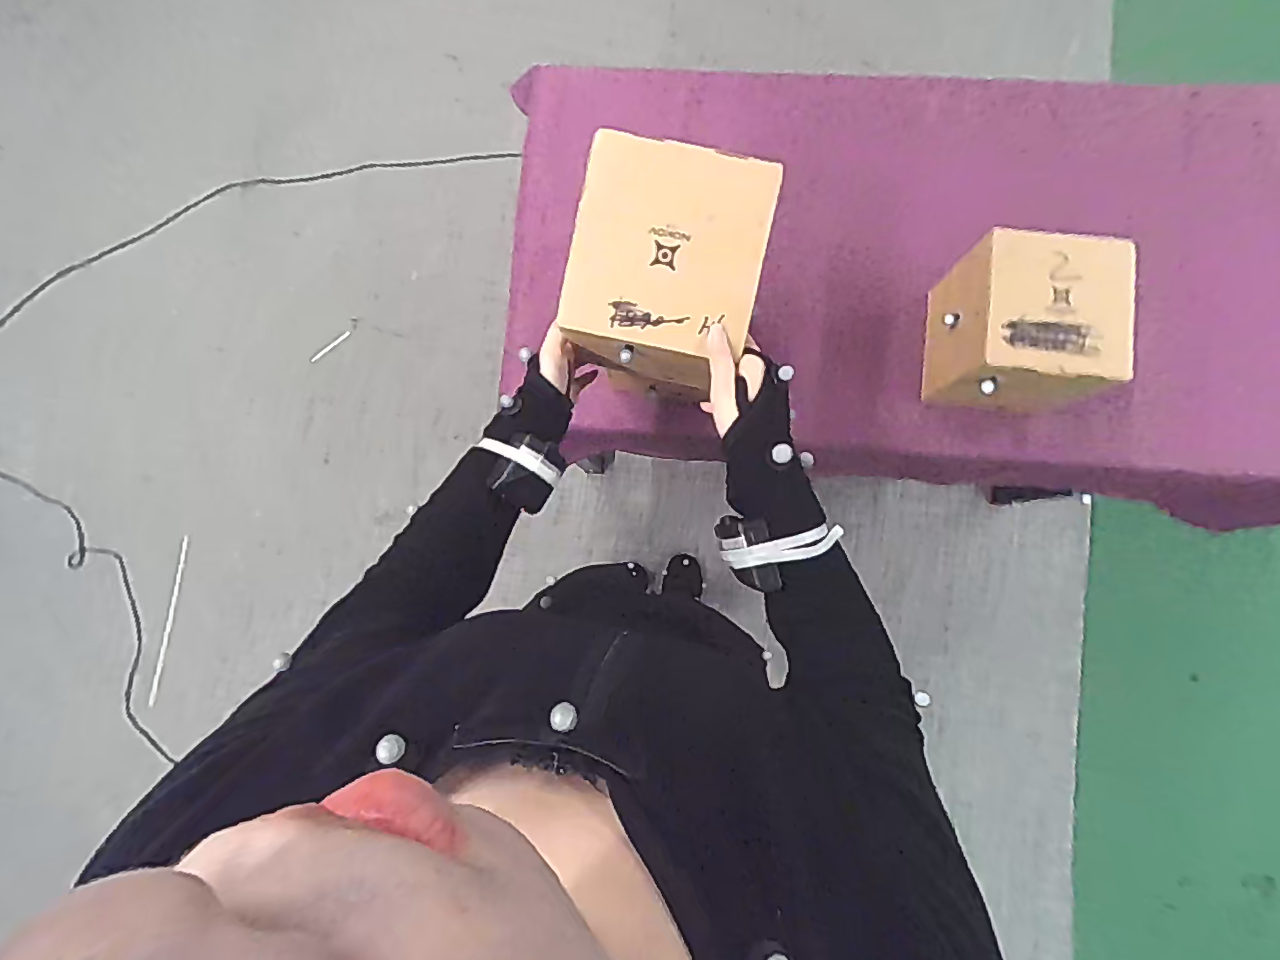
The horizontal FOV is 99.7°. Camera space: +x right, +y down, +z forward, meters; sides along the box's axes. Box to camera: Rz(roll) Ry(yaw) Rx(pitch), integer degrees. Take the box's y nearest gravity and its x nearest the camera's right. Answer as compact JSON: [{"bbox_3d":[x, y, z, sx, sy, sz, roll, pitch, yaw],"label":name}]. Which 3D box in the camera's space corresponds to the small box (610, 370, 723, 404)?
[{"bbox_3d":[0.046,-0.220,0.748,0.168,0.176,0.179,10,84,5],"label":"small box"}]

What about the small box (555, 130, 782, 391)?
[{"bbox_3d":[0.027,-0.200,0.540,0.168,0.176,0.179,13,92,3],"label":"small box"}]
